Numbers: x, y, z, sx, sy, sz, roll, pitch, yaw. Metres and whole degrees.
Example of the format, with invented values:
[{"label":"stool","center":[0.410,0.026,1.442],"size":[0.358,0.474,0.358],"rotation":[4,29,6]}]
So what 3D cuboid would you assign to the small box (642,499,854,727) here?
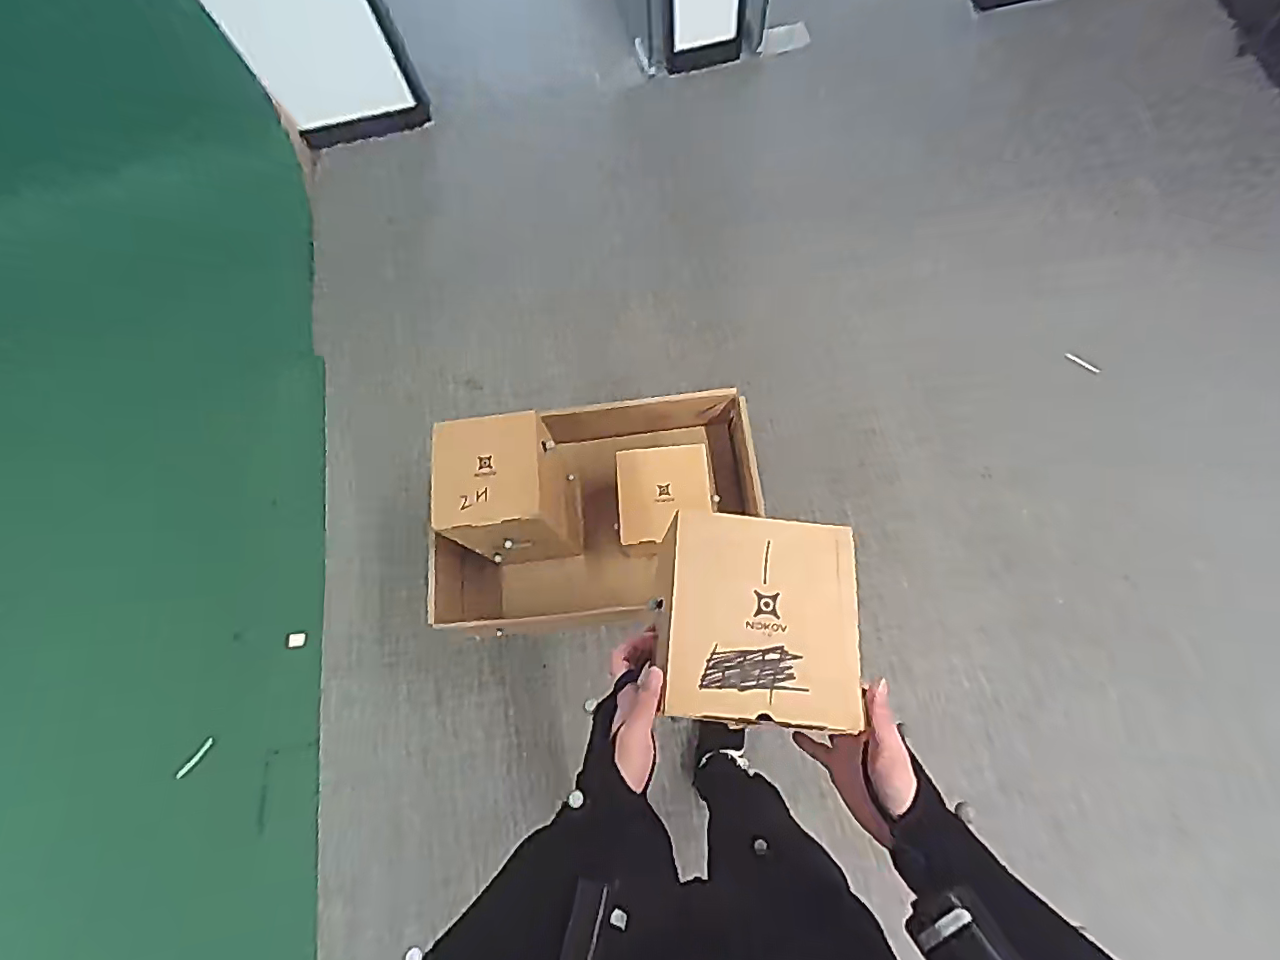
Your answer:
[{"label":"small box","center":[0.095,0.133,0.534],"size":[0.168,0.176,0.179],"rotation":[7,70,-2]}]

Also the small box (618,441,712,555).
[{"label":"small box","center":[0.048,0.040,1.030],"size":[0.168,0.176,0.179],"rotation":[-5,73,3]}]

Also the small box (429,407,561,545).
[{"label":"small box","center":[-0.230,0.000,0.890],"size":[0.168,0.176,0.179],"rotation":[-7,72,3]}]
